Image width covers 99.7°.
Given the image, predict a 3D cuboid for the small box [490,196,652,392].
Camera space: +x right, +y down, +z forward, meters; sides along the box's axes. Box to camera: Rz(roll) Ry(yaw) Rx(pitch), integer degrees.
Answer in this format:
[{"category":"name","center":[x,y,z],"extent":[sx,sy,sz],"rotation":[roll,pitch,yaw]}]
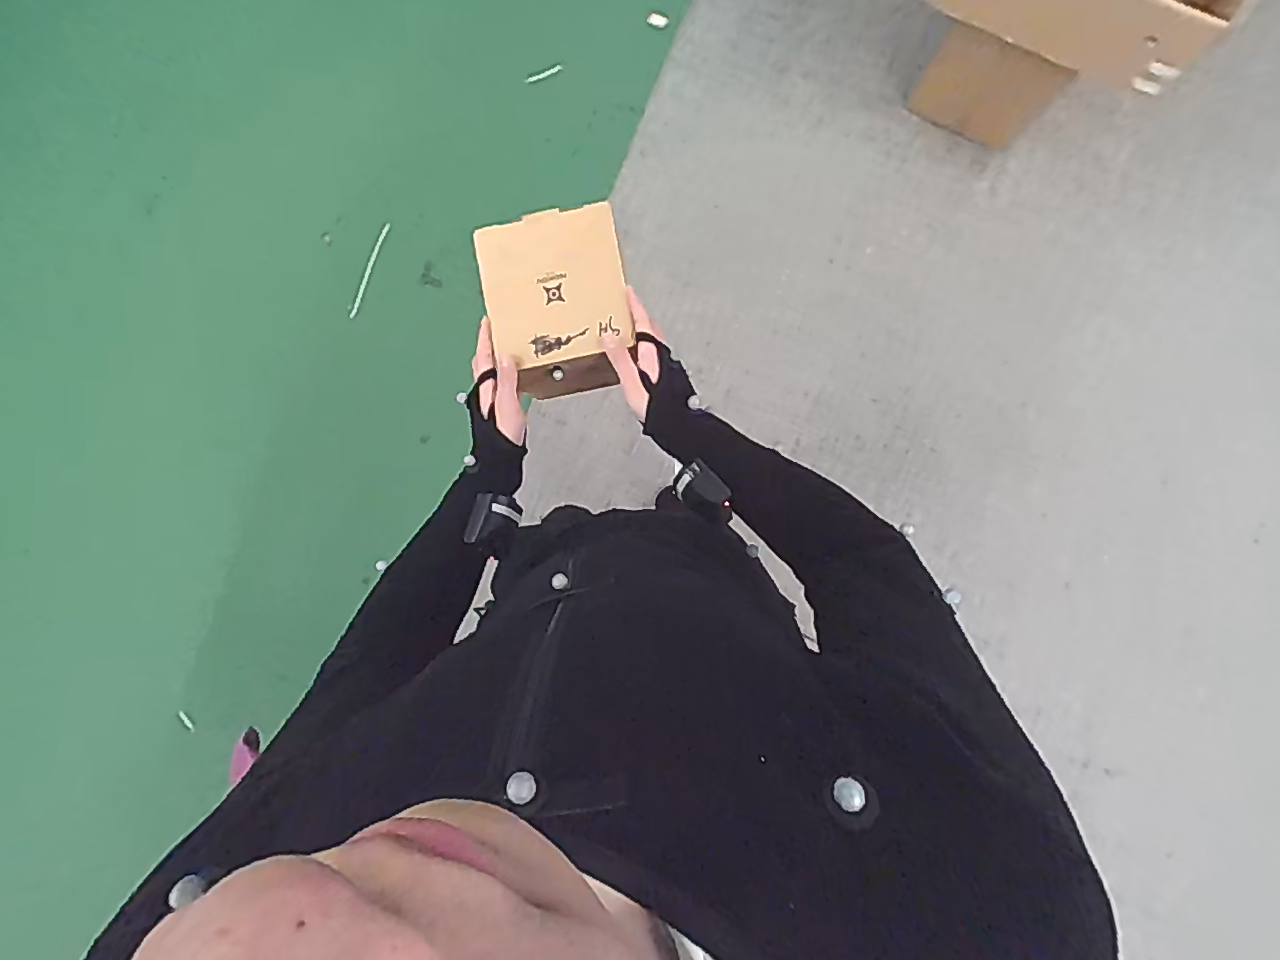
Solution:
[{"category":"small box","center":[-0.078,-0.226,0.699],"extent":[0.168,0.176,0.179],"rotation":[-9,88,4]}]
